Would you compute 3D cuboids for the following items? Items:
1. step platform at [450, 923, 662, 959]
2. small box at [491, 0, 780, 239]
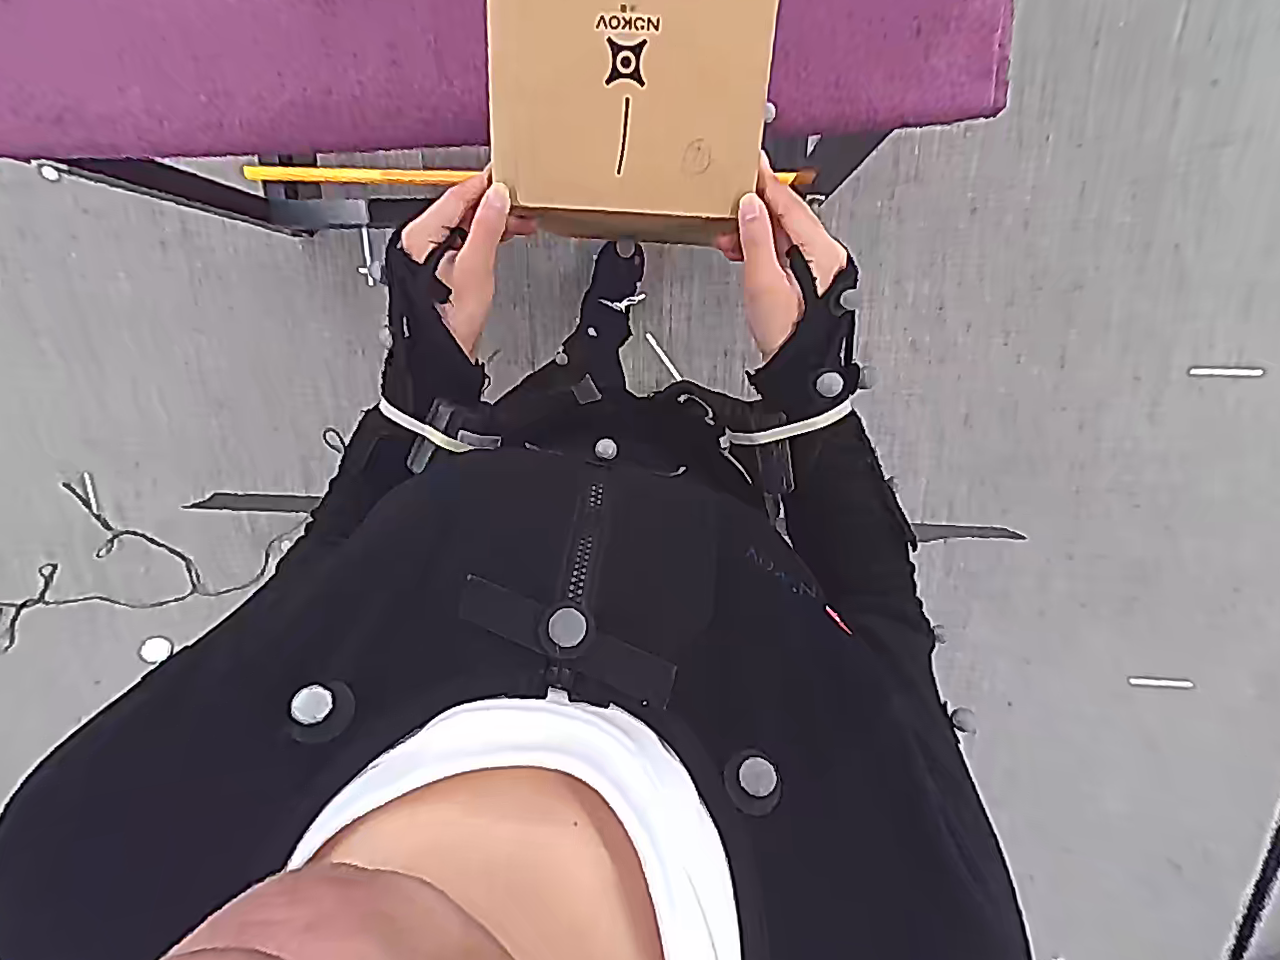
[{"bbox_3d":[-0.270,1.622,1.703,0.684,0.204,0.286,1,104,3],"label":"step platform"},{"bbox_3d":[-0.001,-0.282,0.387,0.168,0.176,0.179,5,108,2],"label":"small box"}]
